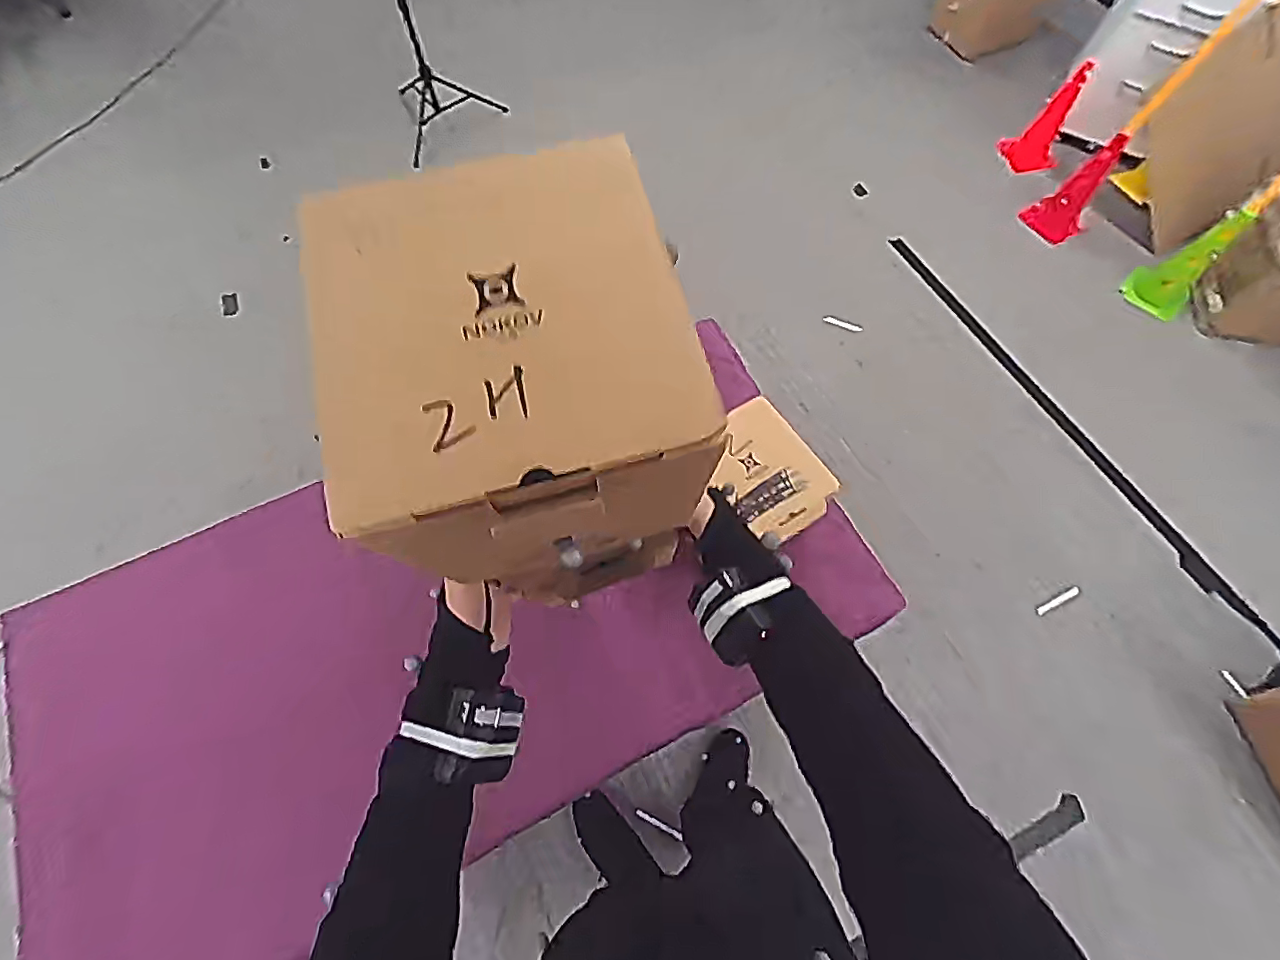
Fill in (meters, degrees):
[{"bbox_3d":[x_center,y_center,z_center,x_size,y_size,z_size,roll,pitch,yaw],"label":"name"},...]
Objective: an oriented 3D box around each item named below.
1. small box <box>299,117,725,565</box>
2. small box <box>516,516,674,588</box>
[{"bbox_3d":[-0.065,-0.061,0.316,0.168,0.176,0.179,-13,75,-5],"label":"small box"},{"bbox_3d":[-0.068,0.020,0.635,0.168,0.176,0.179,-19,75,-6],"label":"small box"}]
